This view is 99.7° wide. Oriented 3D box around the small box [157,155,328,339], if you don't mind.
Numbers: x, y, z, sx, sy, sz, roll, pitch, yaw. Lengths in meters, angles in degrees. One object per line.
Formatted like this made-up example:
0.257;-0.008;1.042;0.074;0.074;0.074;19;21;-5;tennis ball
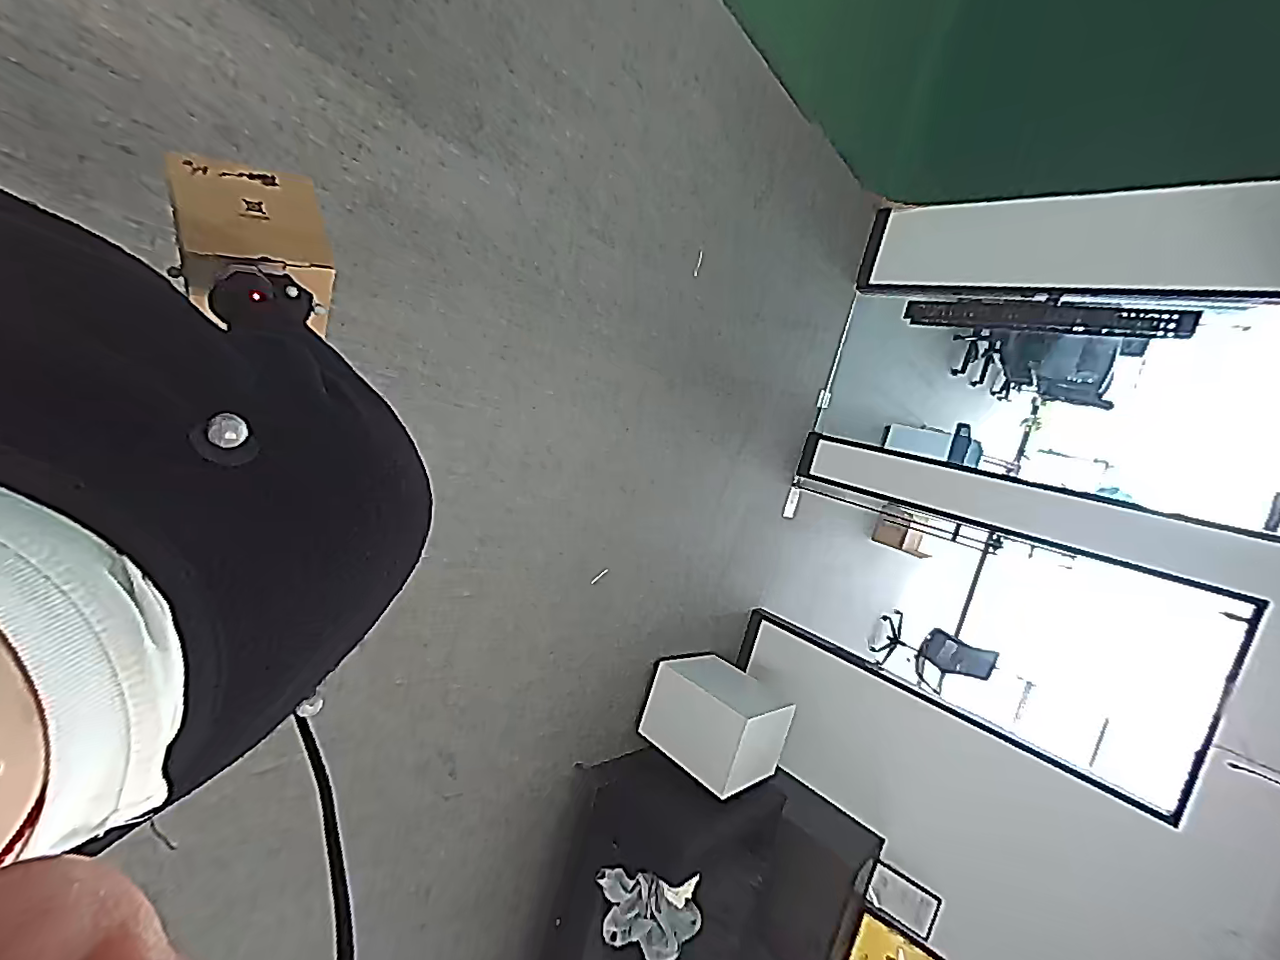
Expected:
-0.567;-0.321;0.783;0.168;0.176;0.179;-13;71;-39;small box
